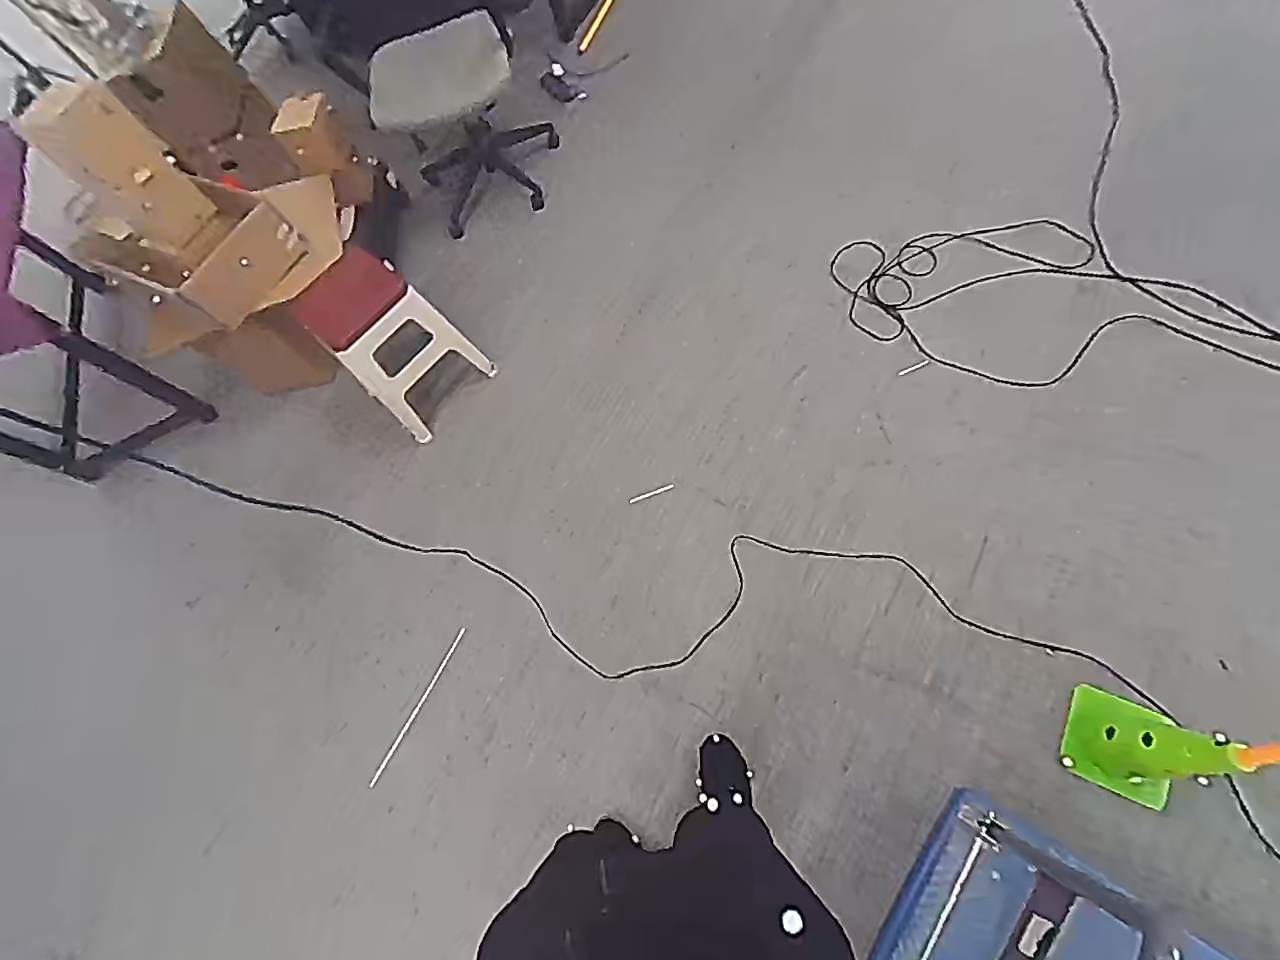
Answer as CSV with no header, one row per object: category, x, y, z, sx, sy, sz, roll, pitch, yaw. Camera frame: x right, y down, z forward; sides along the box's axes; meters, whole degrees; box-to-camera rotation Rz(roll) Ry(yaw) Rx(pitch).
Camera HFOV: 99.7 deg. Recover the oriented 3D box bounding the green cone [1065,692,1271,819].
green cone,1.027,0.528,1.028,0.200,0.368,0.202,20,72,19
